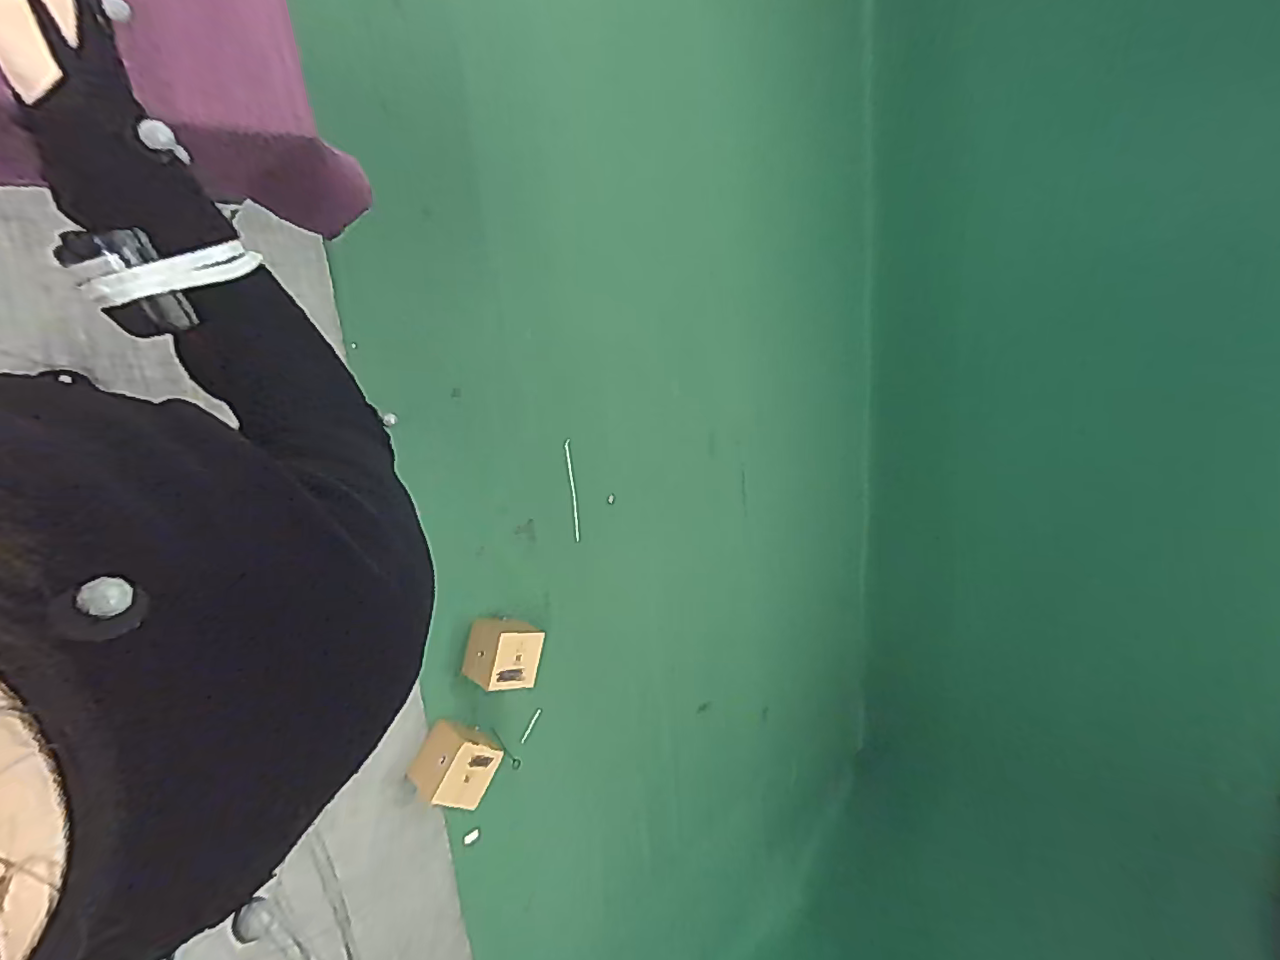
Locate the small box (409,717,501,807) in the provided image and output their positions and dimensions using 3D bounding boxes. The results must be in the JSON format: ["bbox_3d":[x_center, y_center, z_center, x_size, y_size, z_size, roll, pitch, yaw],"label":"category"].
[{"bbox_3d":[-0.562,0.848,1.635,0.168,0.176,0.179,43,67,-40],"label":"small box"}]
